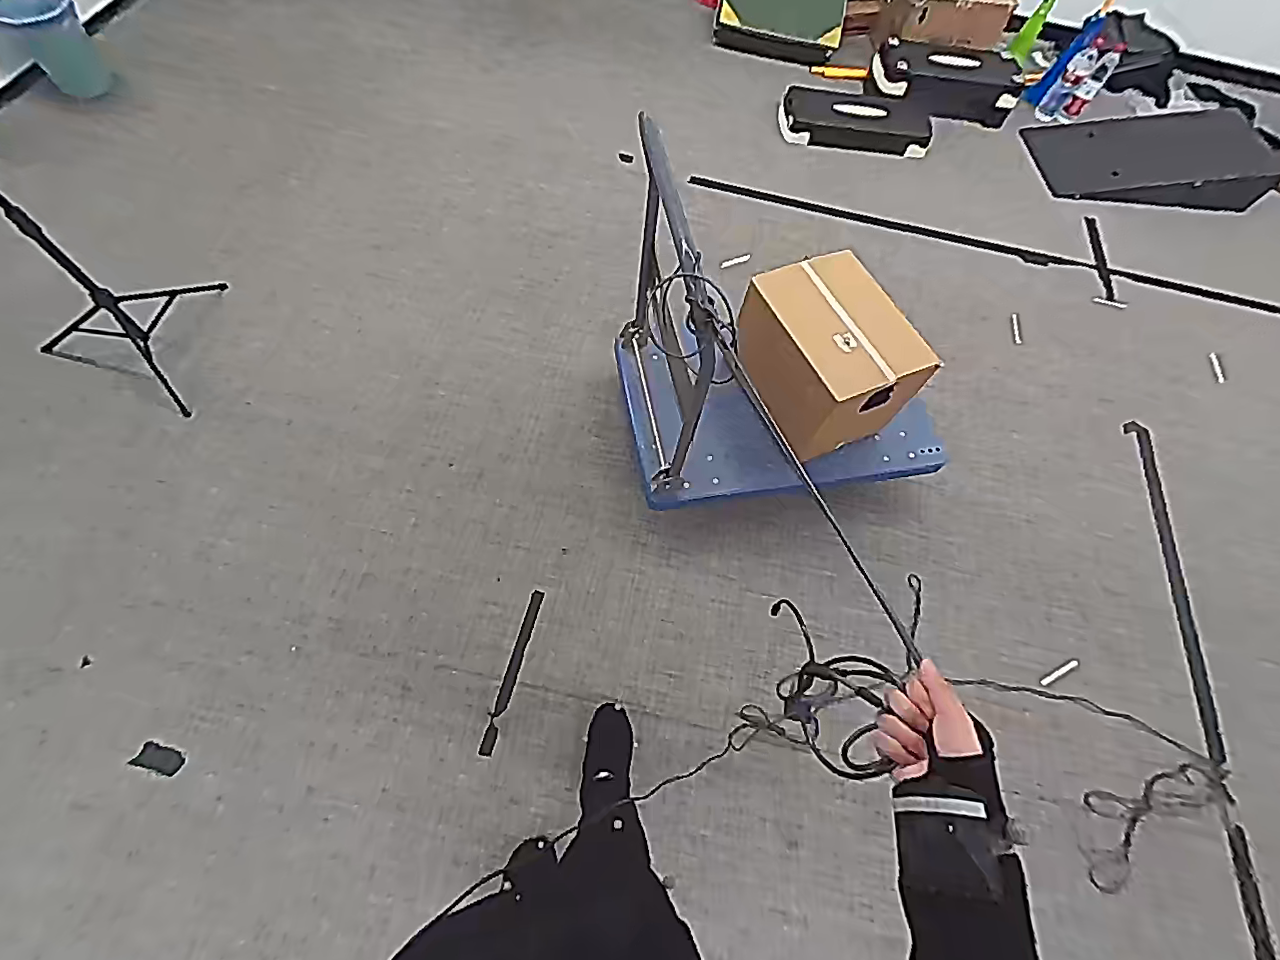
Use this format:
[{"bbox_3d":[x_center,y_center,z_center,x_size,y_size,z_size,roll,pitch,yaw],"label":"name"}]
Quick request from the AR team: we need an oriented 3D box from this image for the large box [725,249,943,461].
[{"bbox_3d":[0.481,-0.326,1.437,0.320,0.320,0.408,-21,69,-14],"label":"large box"}]
